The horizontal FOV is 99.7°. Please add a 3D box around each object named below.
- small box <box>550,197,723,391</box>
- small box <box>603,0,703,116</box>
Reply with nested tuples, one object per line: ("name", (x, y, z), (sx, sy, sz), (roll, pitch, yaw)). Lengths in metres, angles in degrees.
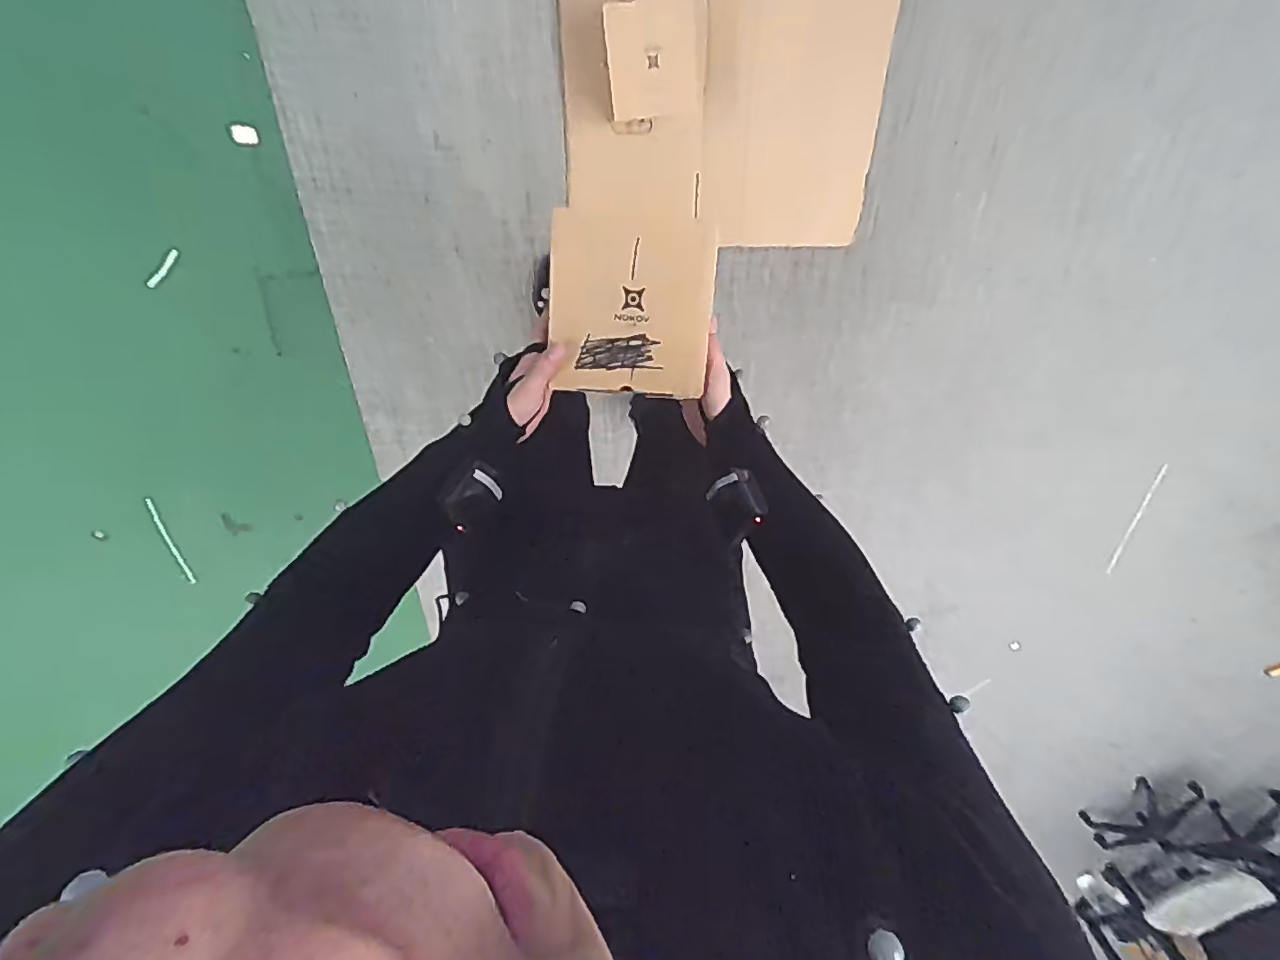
("small box", (-0.010, -0.206, 0.613), (0.168, 0.176, 0.179), (2, 108, -4))
("small box", (0.022, -0.813, 1.034), (0.168, 0.176, 0.179), (-8, 122, -1))
